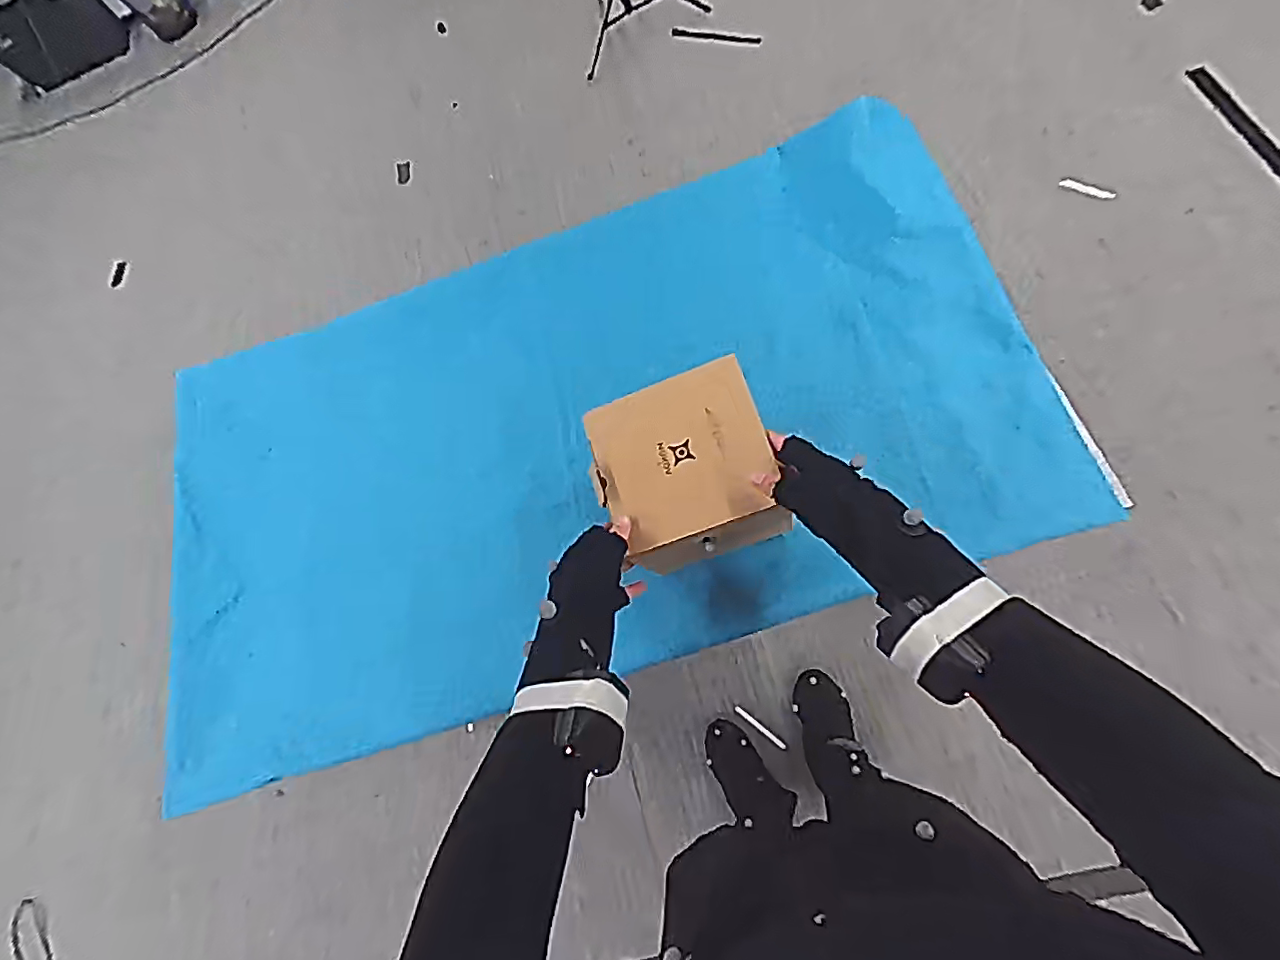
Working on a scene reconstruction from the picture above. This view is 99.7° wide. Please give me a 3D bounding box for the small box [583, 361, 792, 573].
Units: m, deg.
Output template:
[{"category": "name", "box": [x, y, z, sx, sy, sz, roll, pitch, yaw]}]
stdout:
[{"category": "small box", "box": [0.061, 0.000, 0.614, 0.179, 0.176, 0.168, -21, 71, 12]}]
